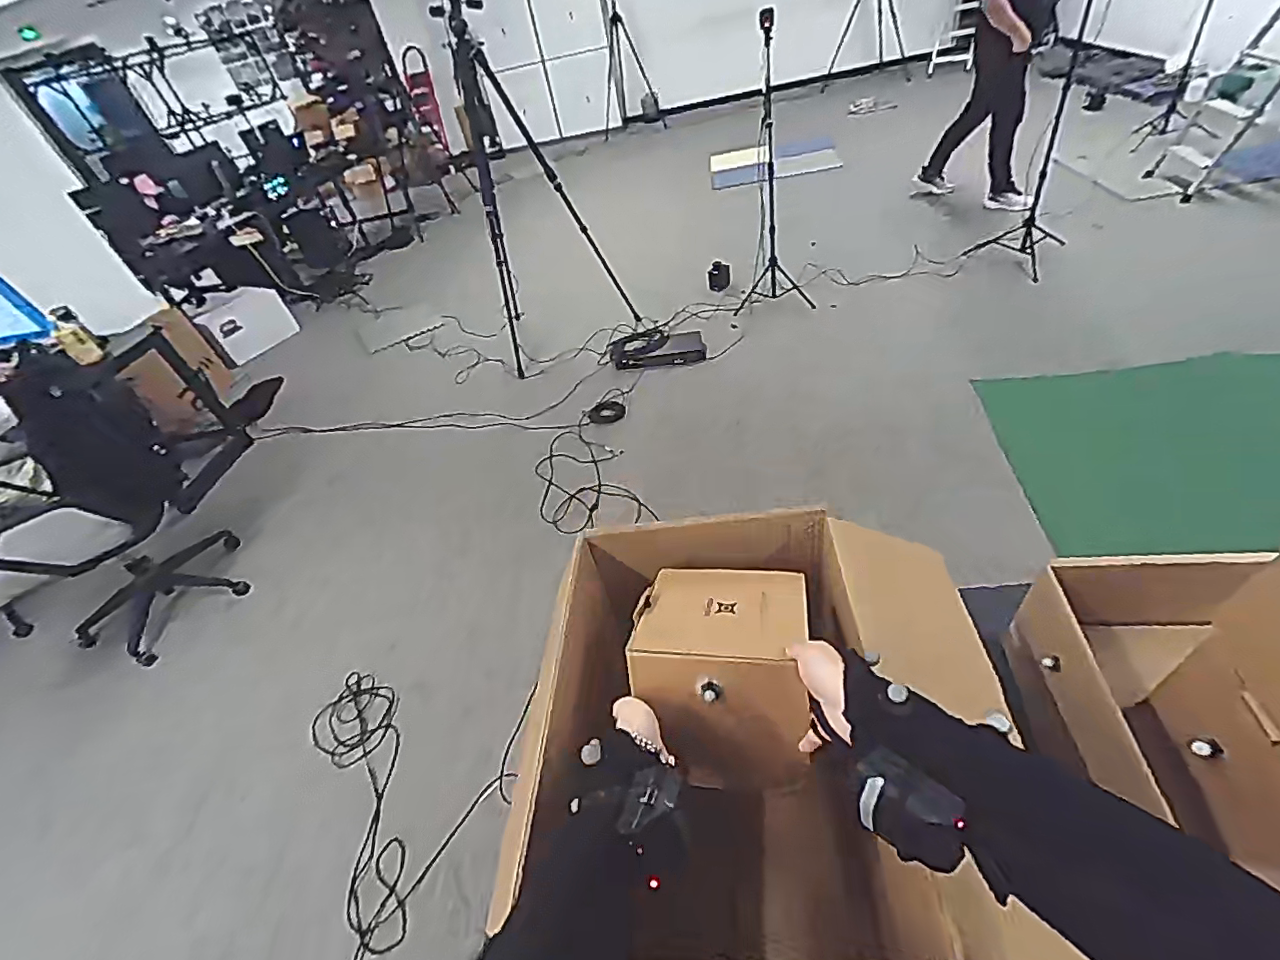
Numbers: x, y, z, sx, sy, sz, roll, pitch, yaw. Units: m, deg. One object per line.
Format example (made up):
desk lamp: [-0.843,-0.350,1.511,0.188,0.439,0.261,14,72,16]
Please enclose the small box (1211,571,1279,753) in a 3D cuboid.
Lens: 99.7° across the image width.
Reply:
small box: [0.630,0.154,0.426,0.168,0.176,0.179,-2,46,13]
